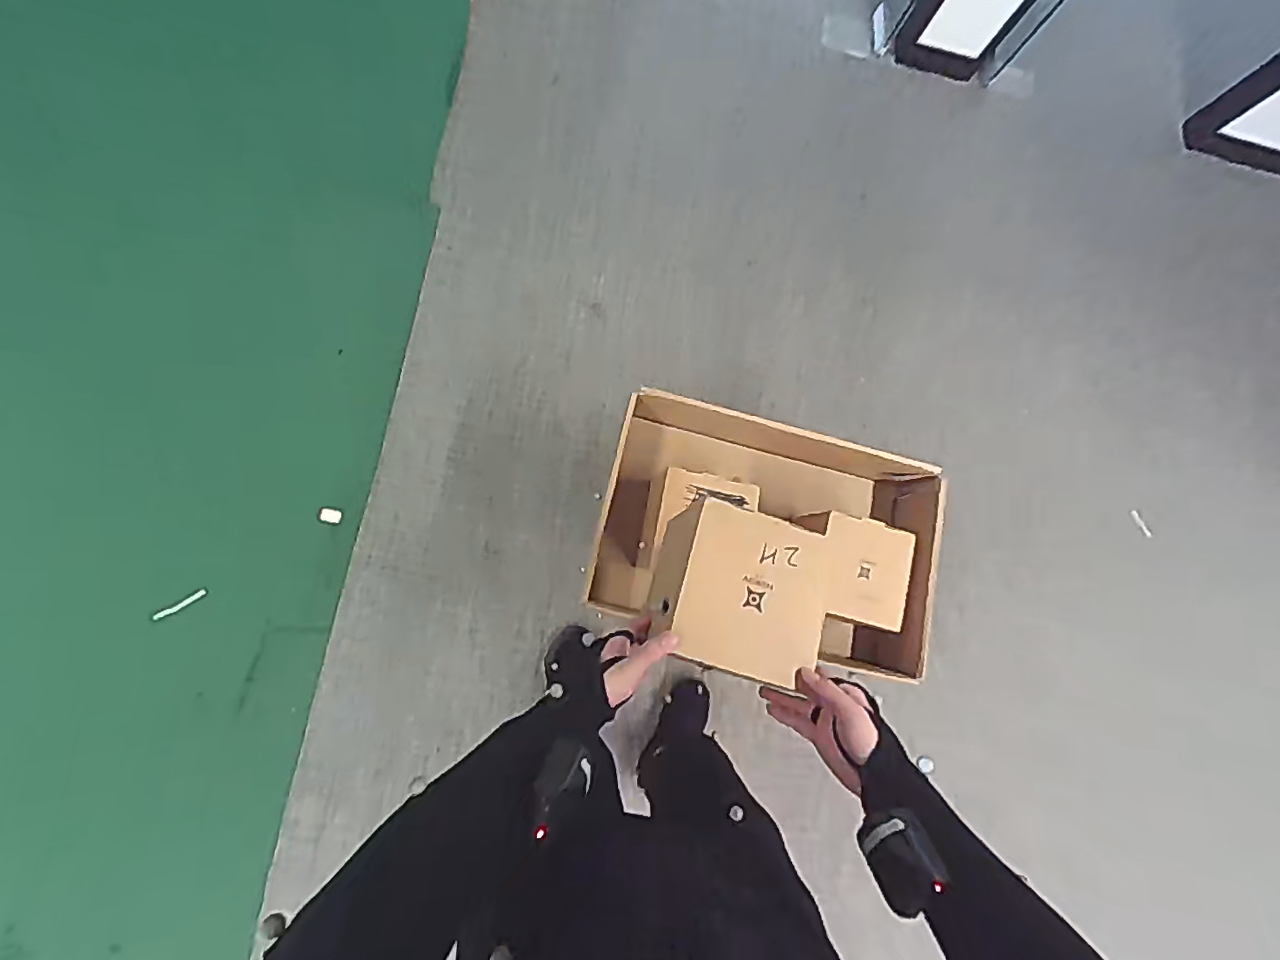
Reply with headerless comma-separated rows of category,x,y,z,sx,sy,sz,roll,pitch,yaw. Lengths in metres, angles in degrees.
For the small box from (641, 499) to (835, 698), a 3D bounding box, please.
small box,0.108,0.146,0.662,0.168,0.176,0.179,20,71,-6
